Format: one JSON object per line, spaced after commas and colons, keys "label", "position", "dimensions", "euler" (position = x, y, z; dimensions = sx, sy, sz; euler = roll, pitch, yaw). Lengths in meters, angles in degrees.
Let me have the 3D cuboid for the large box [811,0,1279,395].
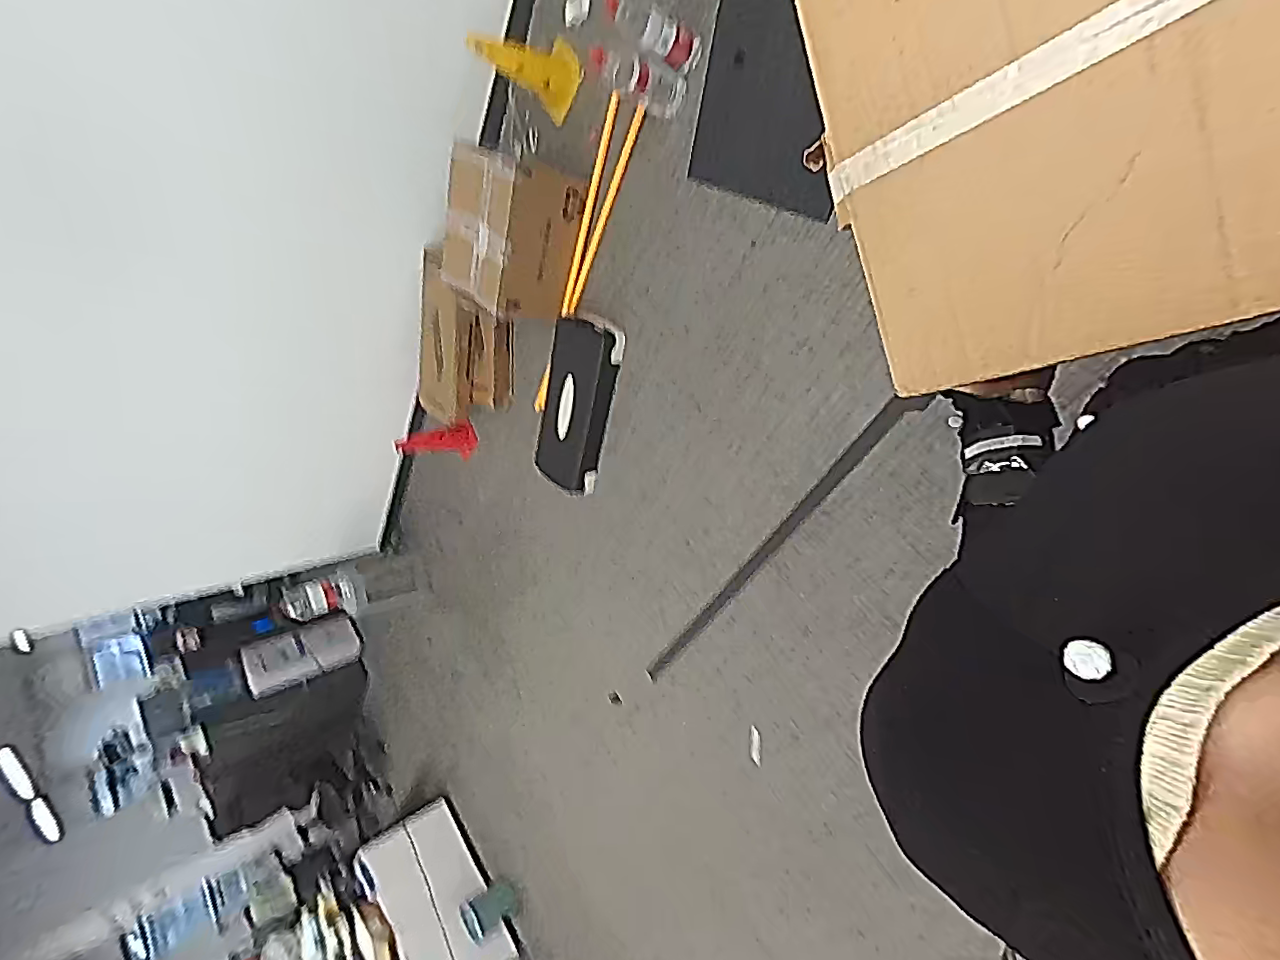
{"label": "large box", "position": [0.384, -0.271, 0.337], "dimensions": [0.408, 0.320, 0.320], "euler": [-11, 98, 45]}
